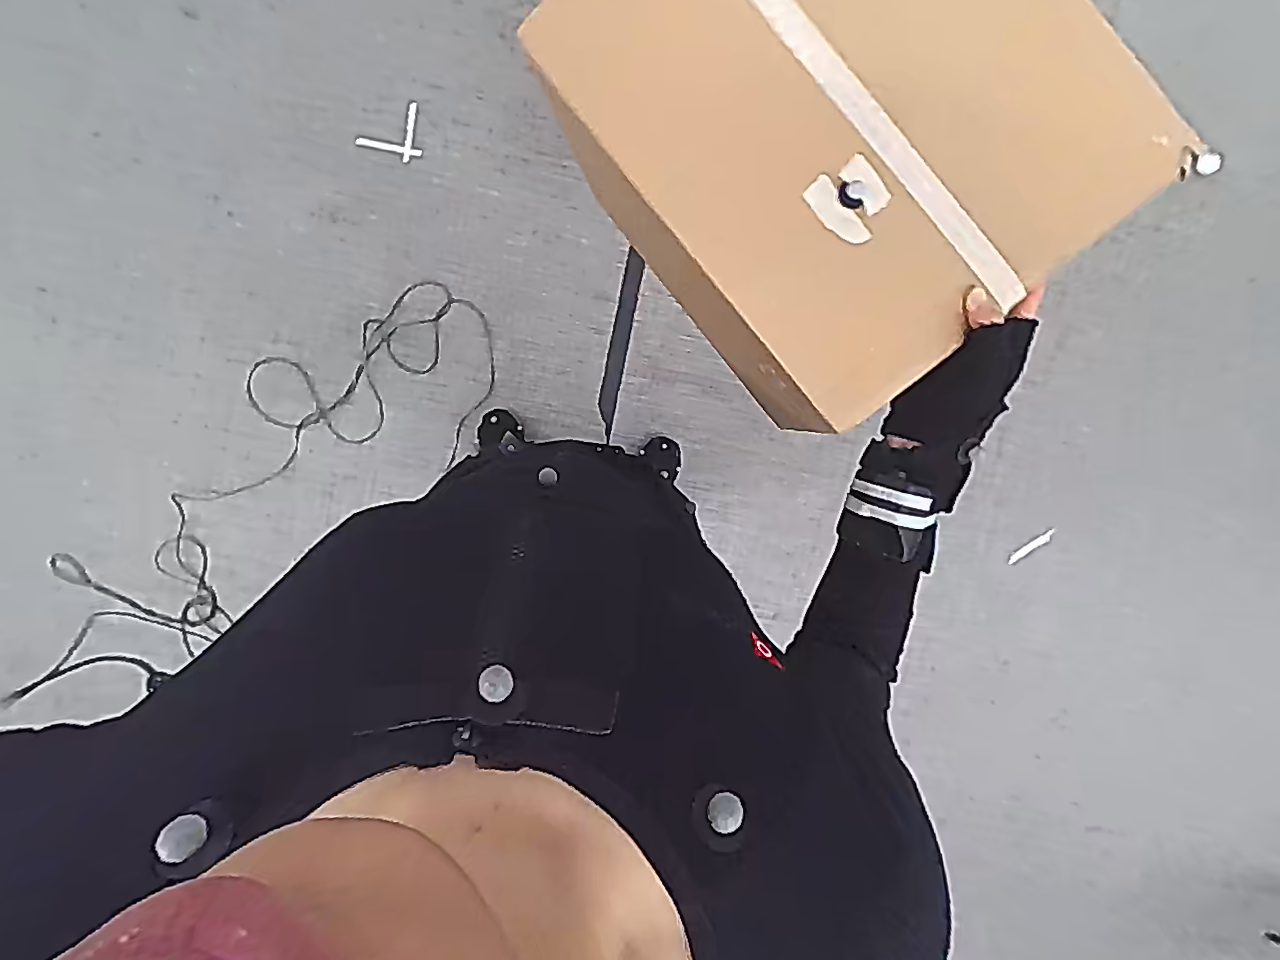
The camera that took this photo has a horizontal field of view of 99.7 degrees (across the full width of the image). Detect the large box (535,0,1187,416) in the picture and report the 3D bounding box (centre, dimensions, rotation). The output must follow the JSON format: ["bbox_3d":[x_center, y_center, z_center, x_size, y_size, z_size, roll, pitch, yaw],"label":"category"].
[{"bbox_3d":[0.170,-0.312,0.558,0.320,0.320,0.408,-40,91,10],"label":"large box"}]
